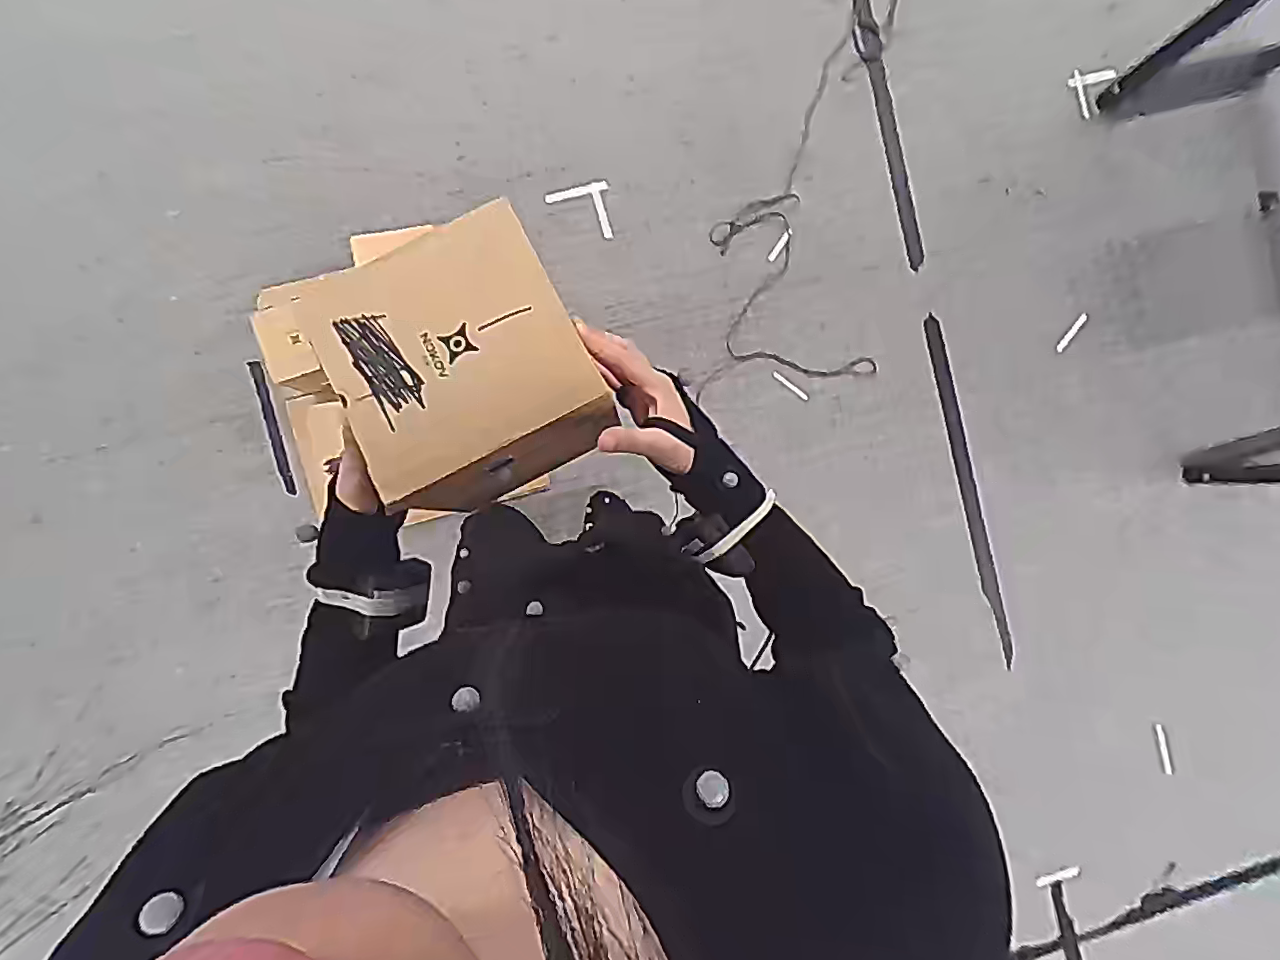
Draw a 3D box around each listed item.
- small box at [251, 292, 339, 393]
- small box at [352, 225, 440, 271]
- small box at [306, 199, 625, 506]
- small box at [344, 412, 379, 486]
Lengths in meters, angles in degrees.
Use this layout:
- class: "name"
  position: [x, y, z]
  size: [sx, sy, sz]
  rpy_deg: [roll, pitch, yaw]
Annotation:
- class: "small box"
  position: [-0.807, -0.333, 1.341]
  size: [0.168, 0.176, 0.179]
  rpy_deg: [-20, 91, -3]
- class: "small box"
  position: [-0.502, -0.436, 1.199]
  size: [0.179, 0.176, 0.168]
  rpy_deg: [-11, 91, -5]
- class: "small box"
  position: [-0.126, -0.085, 0.458]
  size: [0.179, 0.176, 0.168]
  rpy_deg: [-26, 85, -1]
- class: "small box"
  position: [-0.613, -0.083, 1.355]
  size: [0.168, 0.176, 0.179]
  rpy_deg: [-6, 92, -5]
